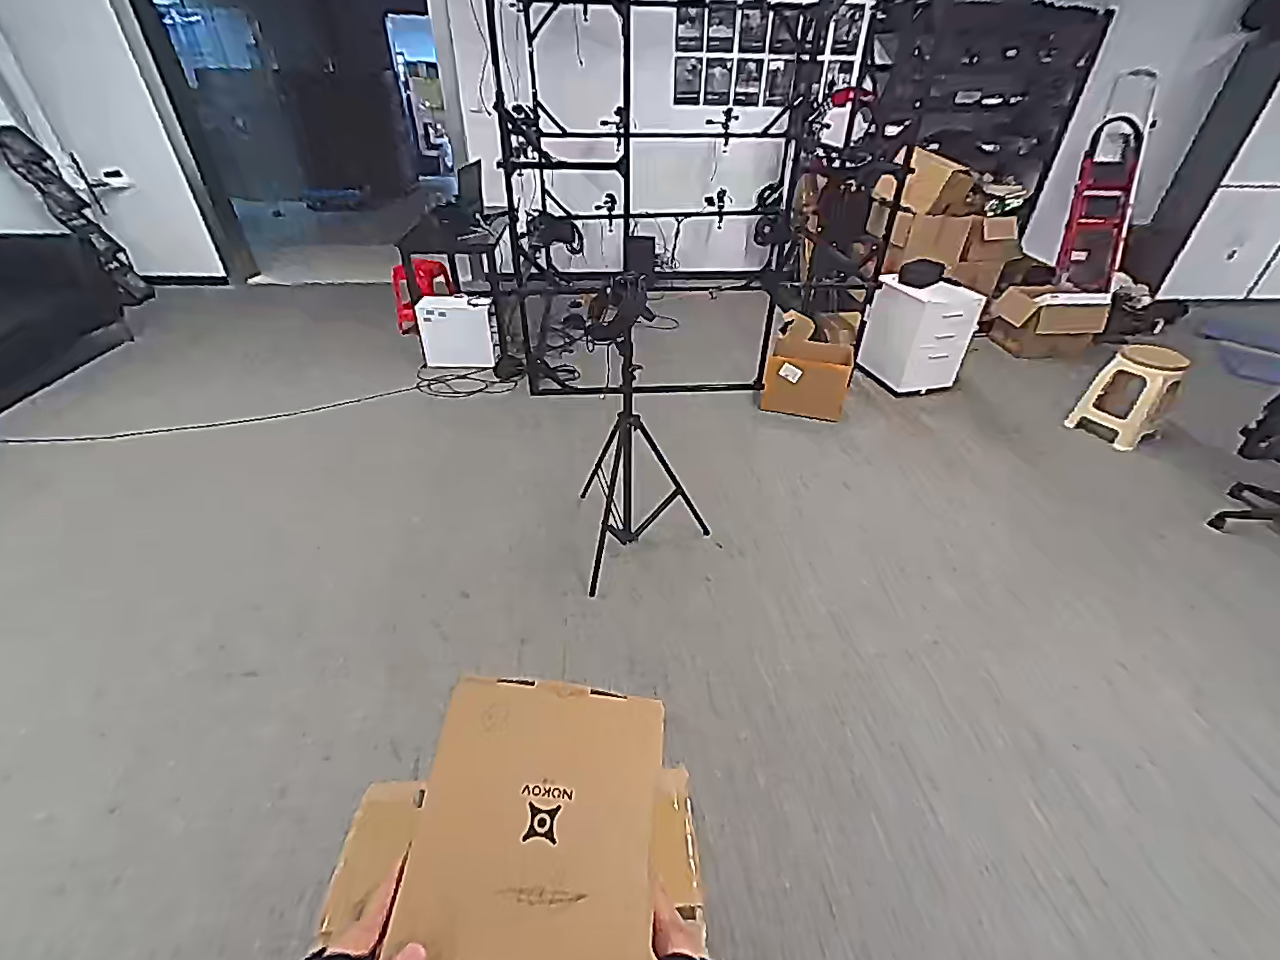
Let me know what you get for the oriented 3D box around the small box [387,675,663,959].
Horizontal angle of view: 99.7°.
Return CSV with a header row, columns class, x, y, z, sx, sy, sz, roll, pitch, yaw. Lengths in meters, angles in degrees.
class,x,y,z,sx,sy,sz,roll,pitch,yaw
small box,-0.081,0.281,0.445,0.168,0.176,0.179,8,54,-5
